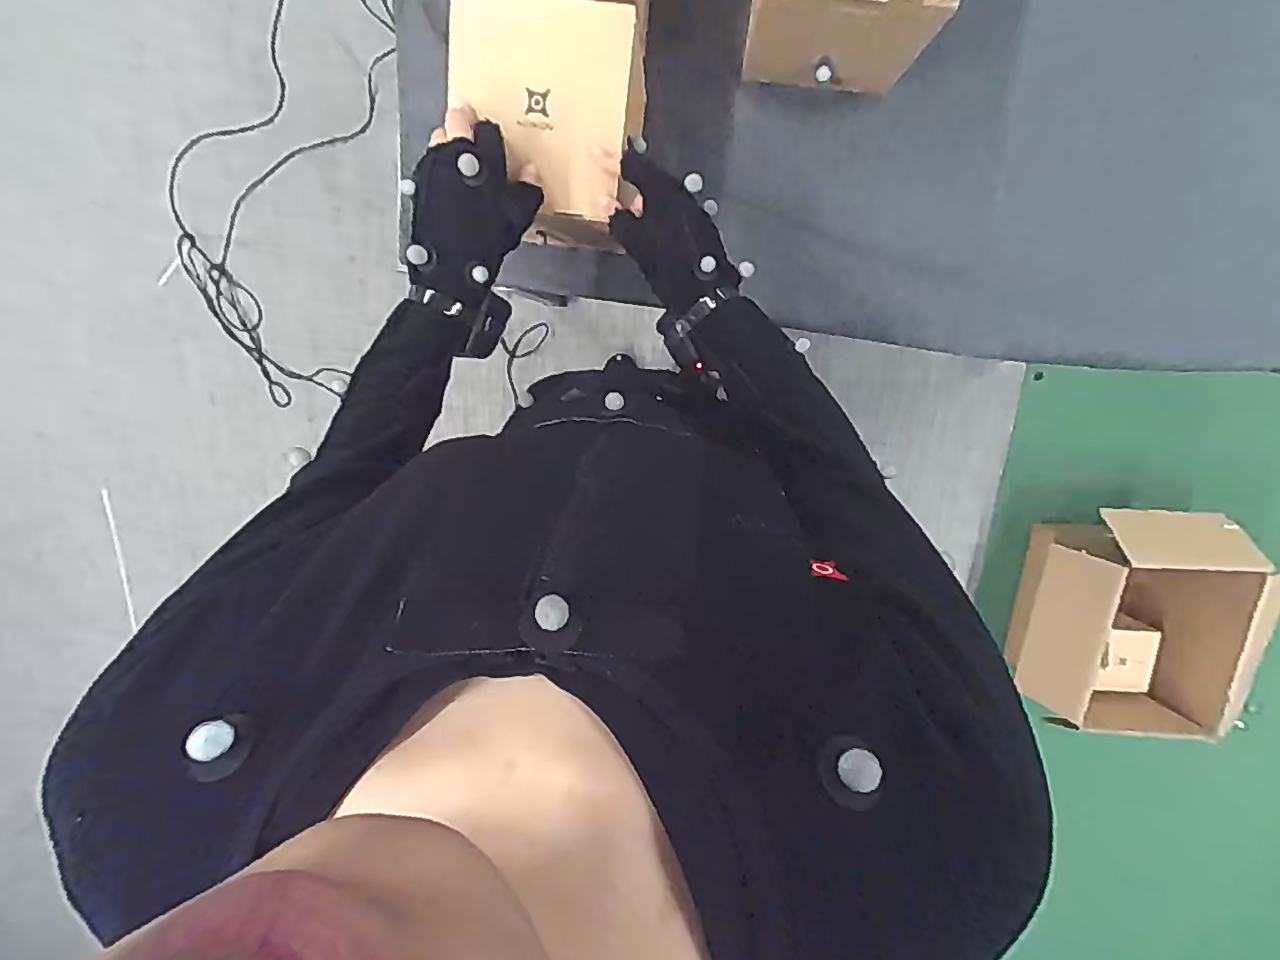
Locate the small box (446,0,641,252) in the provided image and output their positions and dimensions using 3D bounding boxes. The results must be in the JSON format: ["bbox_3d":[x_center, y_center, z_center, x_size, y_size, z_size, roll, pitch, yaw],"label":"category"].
[{"bbox_3d":[-0.089,-0.356,0.570,0.168,0.176,0.179,7,104,1],"label":"small box"}]

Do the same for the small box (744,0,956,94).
[{"bbox_3d":[0.201,-0.513,0.517,0.168,0.176,0.179,7,104,1],"label":"small box"}]
